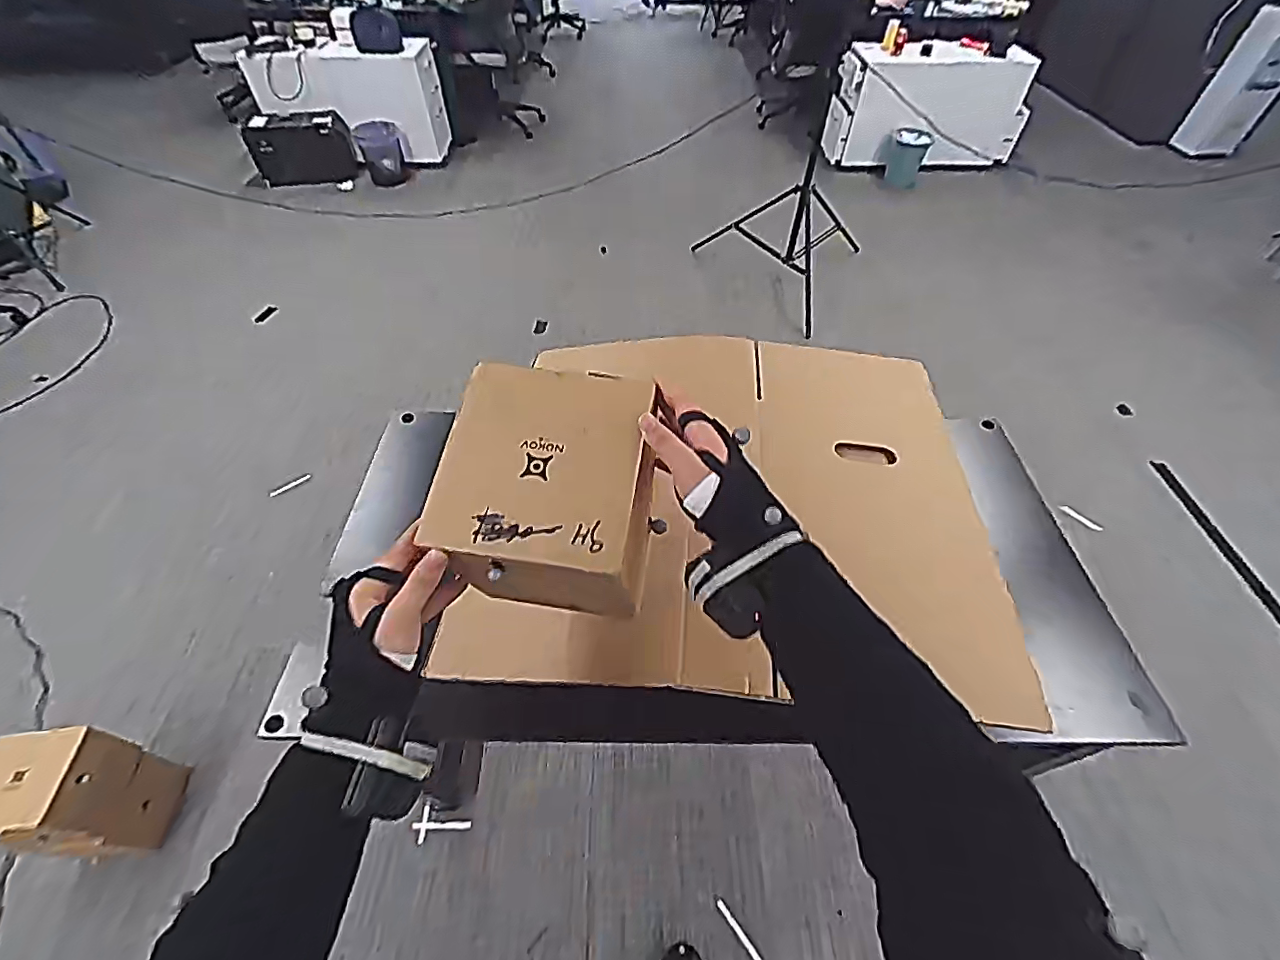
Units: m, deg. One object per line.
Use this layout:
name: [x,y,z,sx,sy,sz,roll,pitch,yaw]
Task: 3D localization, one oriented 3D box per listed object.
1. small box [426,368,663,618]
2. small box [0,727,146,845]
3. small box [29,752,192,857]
small box: [-0.070,0.018,0.521,0.168,0.176,0.179,6,64,9]
small box: [-1.163,0.620,1.089,0.168,0.176,0.179,-5,49,-5]
small box: [-1.162,0.728,1.210,0.168,0.176,0.179,-3,51,-2]
